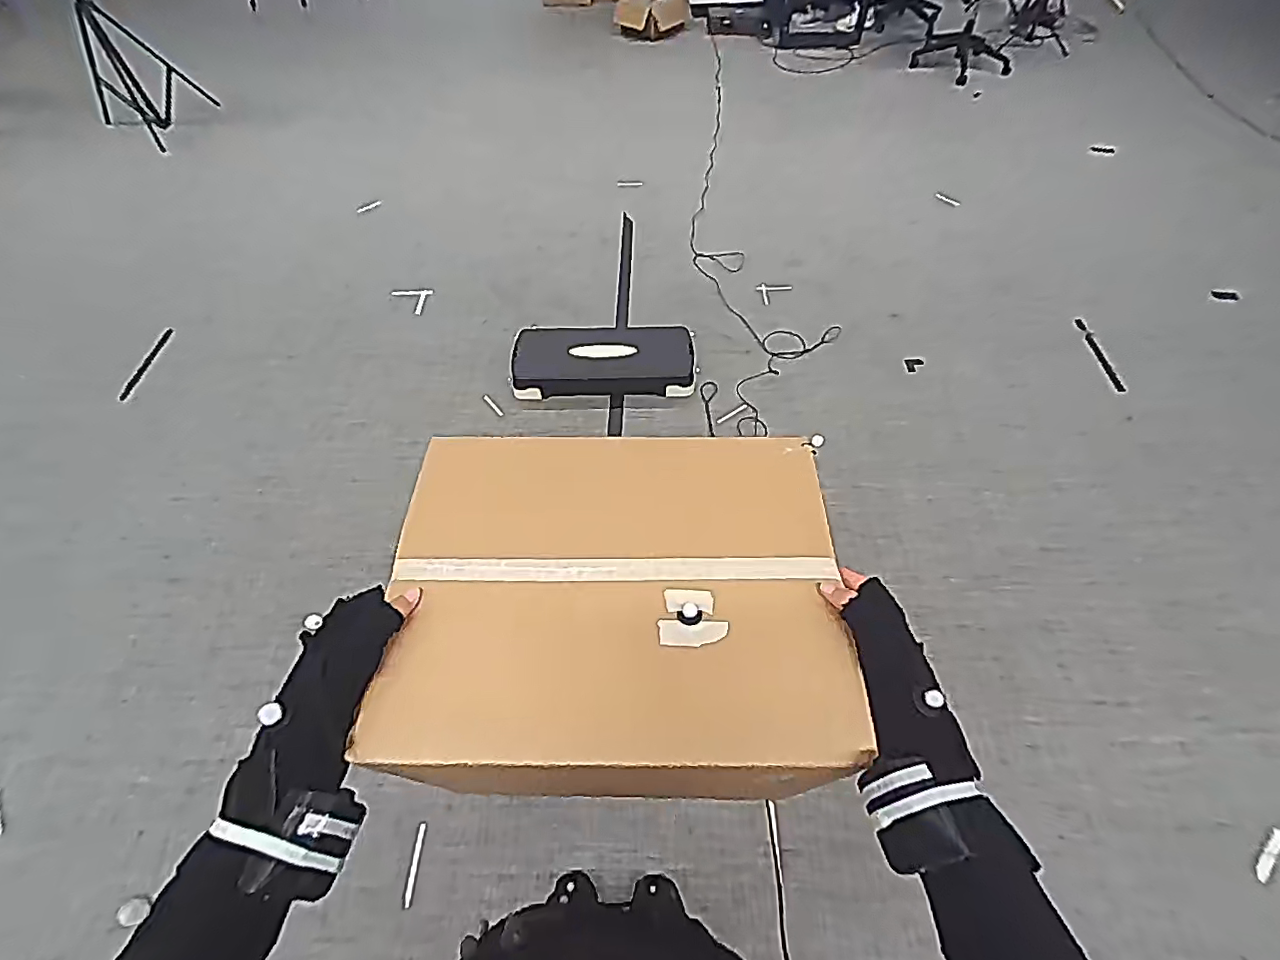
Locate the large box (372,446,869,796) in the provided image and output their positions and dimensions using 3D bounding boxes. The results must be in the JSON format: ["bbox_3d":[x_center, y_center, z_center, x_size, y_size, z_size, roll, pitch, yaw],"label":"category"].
[{"bbox_3d":[-0.016,0.174,0.631,0.408,0.320,0.320,0,56,1],"label":"large box"}]
